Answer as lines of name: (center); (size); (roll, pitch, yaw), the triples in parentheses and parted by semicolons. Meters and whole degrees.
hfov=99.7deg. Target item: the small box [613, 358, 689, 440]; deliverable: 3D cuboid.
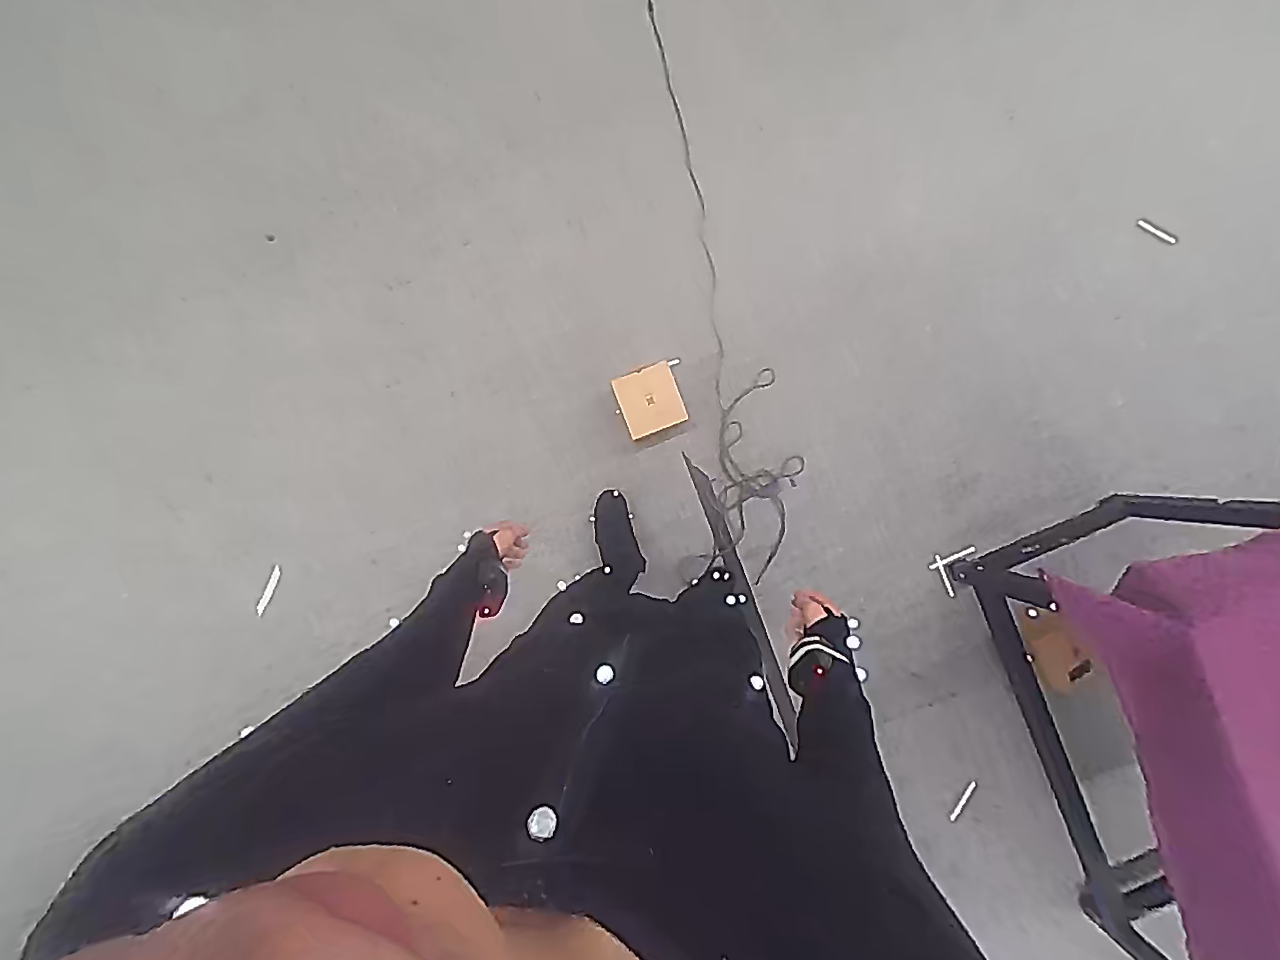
small box: (0.027, -0.224, 1.543); (0.168, 0.176, 0.179); (-21, 92, -1)
